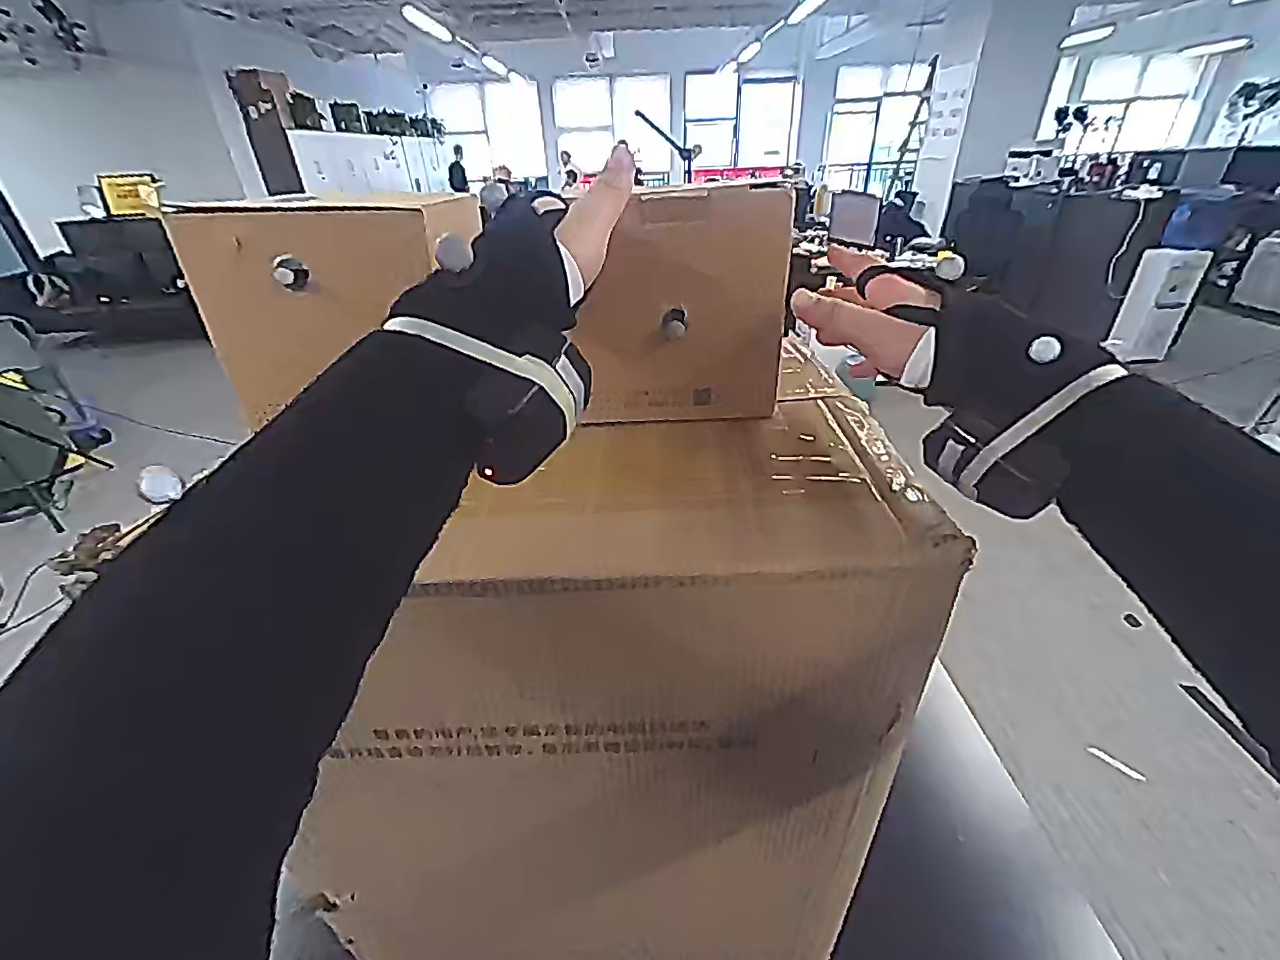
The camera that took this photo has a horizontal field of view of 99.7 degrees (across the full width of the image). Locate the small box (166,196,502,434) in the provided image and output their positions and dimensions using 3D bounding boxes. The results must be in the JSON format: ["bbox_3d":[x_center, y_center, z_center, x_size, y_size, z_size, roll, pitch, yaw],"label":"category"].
[{"bbox_3d":[-0.232,-0.147,0.468,0.179,0.176,0.168,-1,30,-1],"label":"small box"}]

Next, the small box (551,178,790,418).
[{"bbox_3d":[0.027,-0.159,0.472,0.168,0.176,0.179,-2,30,2],"label":"small box"}]
